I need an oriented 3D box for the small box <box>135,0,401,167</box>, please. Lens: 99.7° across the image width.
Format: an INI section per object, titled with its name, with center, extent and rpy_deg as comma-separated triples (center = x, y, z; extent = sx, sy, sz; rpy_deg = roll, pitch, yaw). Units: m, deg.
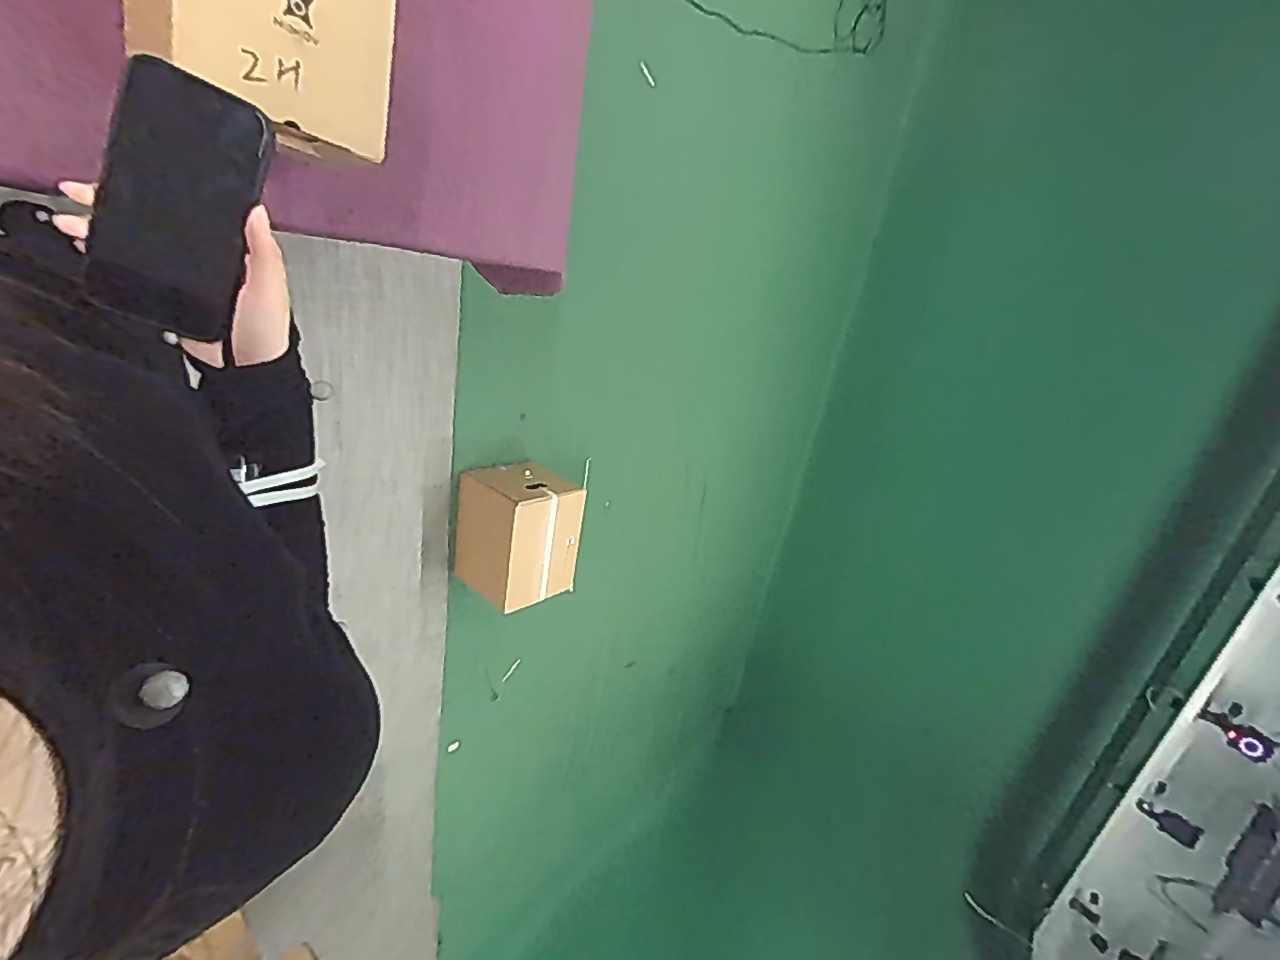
[small box]
center = -0.349, -0.418, 0.506
extent = 0.168, 0.176, 0.179
rpy_deg = -7, 115, -50
